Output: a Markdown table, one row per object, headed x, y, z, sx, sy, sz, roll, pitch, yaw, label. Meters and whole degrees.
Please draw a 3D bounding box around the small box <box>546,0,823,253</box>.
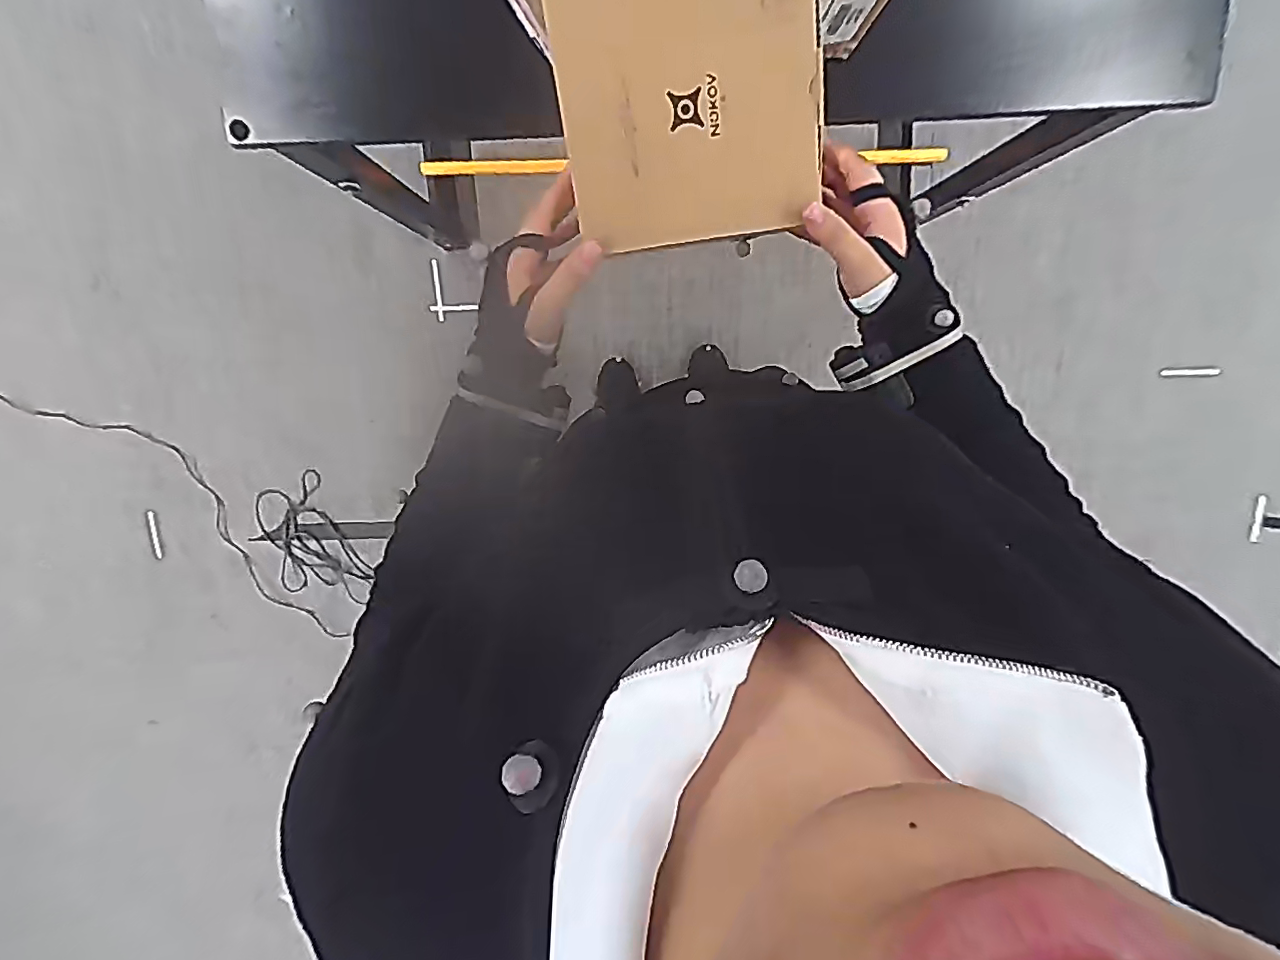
| x | y | z | sx | sy | sz | roll | pitch | yaw | label |
| --- | --- | --- | --- | --- | --- | --- | --- | --- | --- |
| 0.033 | -0.285 | 0.438 | 0.179 | 0.176 | 0.168 | -8 | 111 | 3 | small box |
